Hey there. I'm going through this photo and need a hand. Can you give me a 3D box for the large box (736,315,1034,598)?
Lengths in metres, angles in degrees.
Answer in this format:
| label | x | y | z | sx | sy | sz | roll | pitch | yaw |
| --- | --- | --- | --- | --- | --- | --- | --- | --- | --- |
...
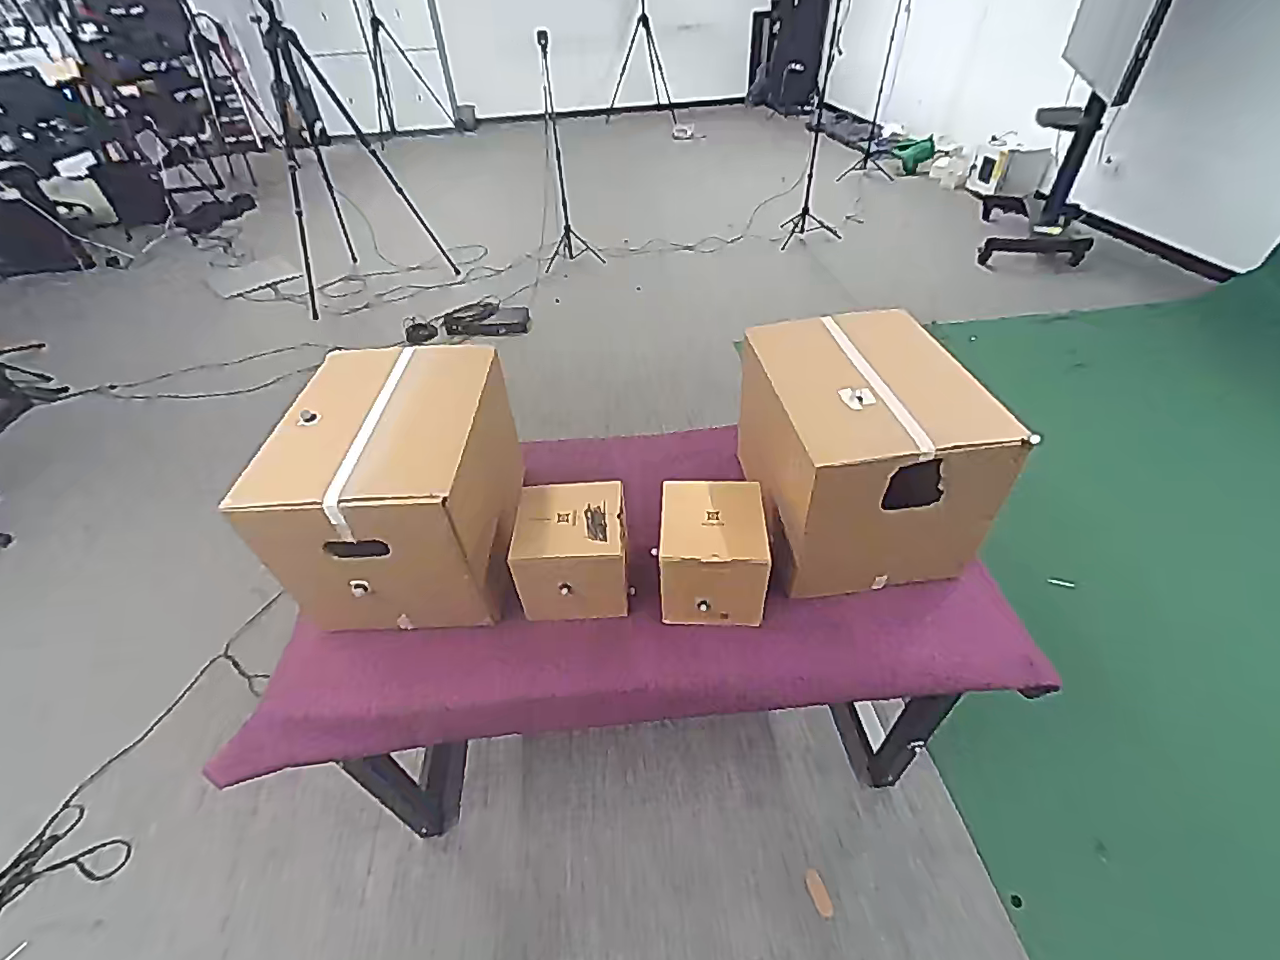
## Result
| label | x | y | z | sx | sy | sz | roll | pitch | yaw |
| --- | --- | --- | --- | --- | --- | --- | --- | --- | --- |
| large box | 0.379 | -0.054 | 0.982 | 0.320 | 0.320 | 0.408 | -8 | 43 | -1 |
